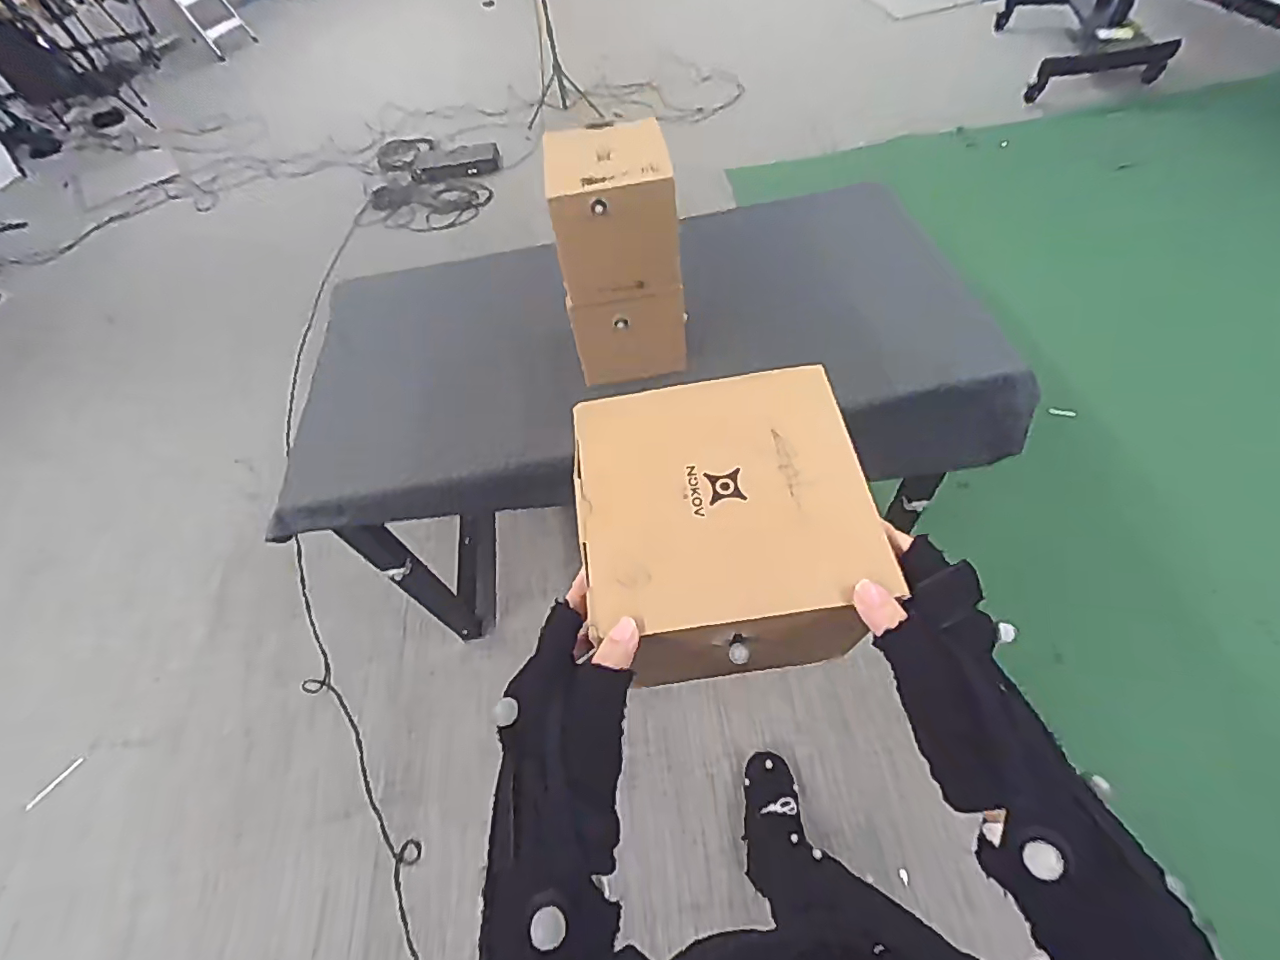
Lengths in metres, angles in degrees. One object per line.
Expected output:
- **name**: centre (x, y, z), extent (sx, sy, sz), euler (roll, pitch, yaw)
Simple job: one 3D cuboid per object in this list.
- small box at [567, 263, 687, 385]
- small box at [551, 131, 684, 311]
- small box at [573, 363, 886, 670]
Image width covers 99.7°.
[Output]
- **small box**: centre (-0.020, -0.282, 0.927), extent (0.179, 0.176, 0.168), euler (-9, 54, 0)
- **small box**: centre (-0.032, -0.378, 0.798), extent (0.168, 0.176, 0.179), euler (-10, 55, -1)
- **small box**: centre (0.054, 0.039, 0.414), extent (0.179, 0.176, 0.168), euler (-8, 60, 1)
